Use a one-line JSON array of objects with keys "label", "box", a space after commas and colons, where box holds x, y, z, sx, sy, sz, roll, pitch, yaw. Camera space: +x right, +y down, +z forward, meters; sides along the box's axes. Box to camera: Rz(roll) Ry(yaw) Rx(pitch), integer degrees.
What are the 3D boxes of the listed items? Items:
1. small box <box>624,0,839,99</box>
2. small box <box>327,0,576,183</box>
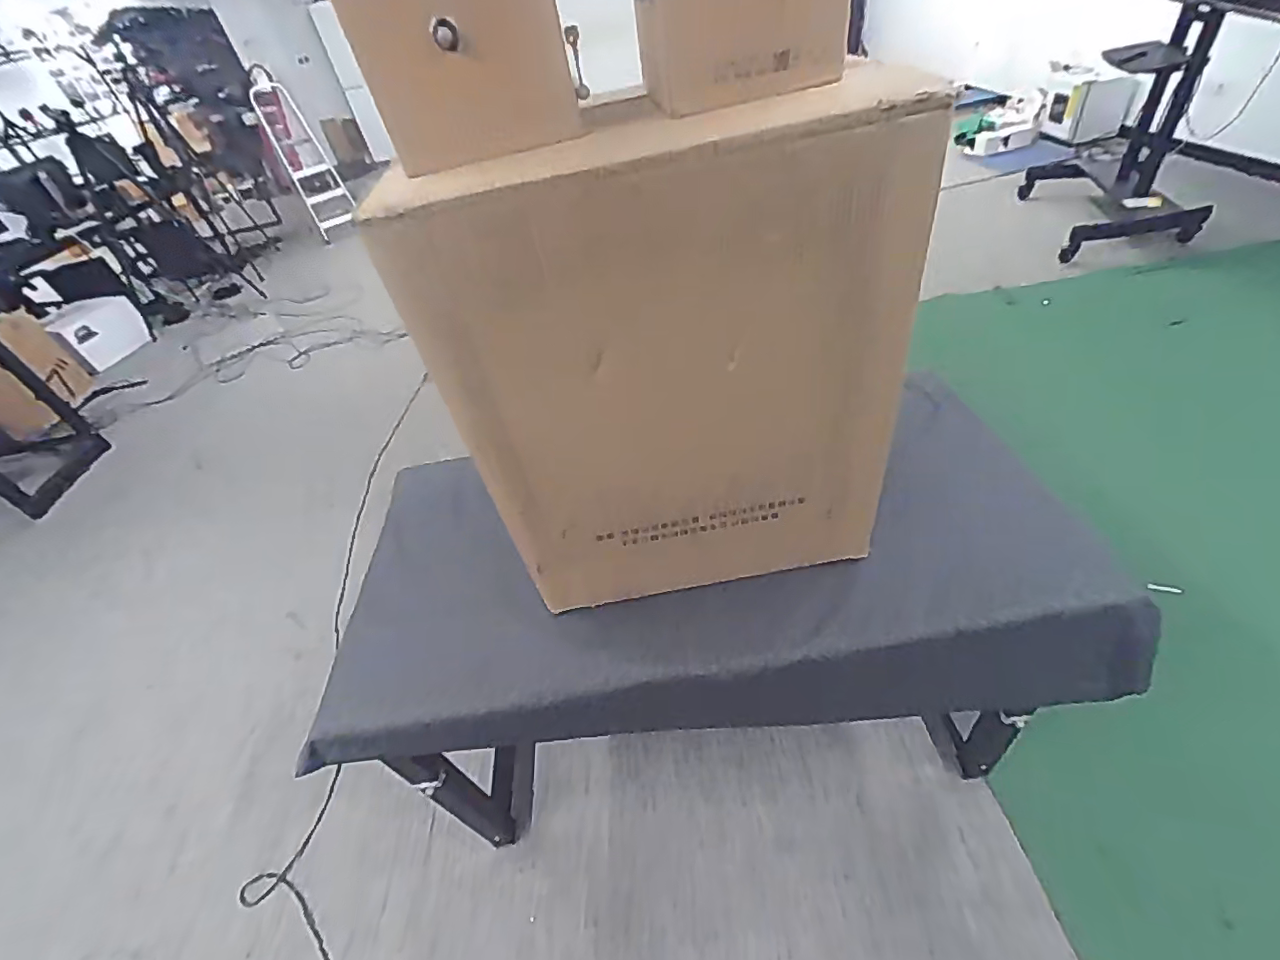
[{"label": "small box", "box": [0.077, -0.477, 0.500, 0.168, 0.176, 0.179, -15, 46, -3]}, {"label": "small box", "box": [-0.164, -0.414, 0.518, 0.179, 0.176, 0.168, -14, 45, 2]}]
